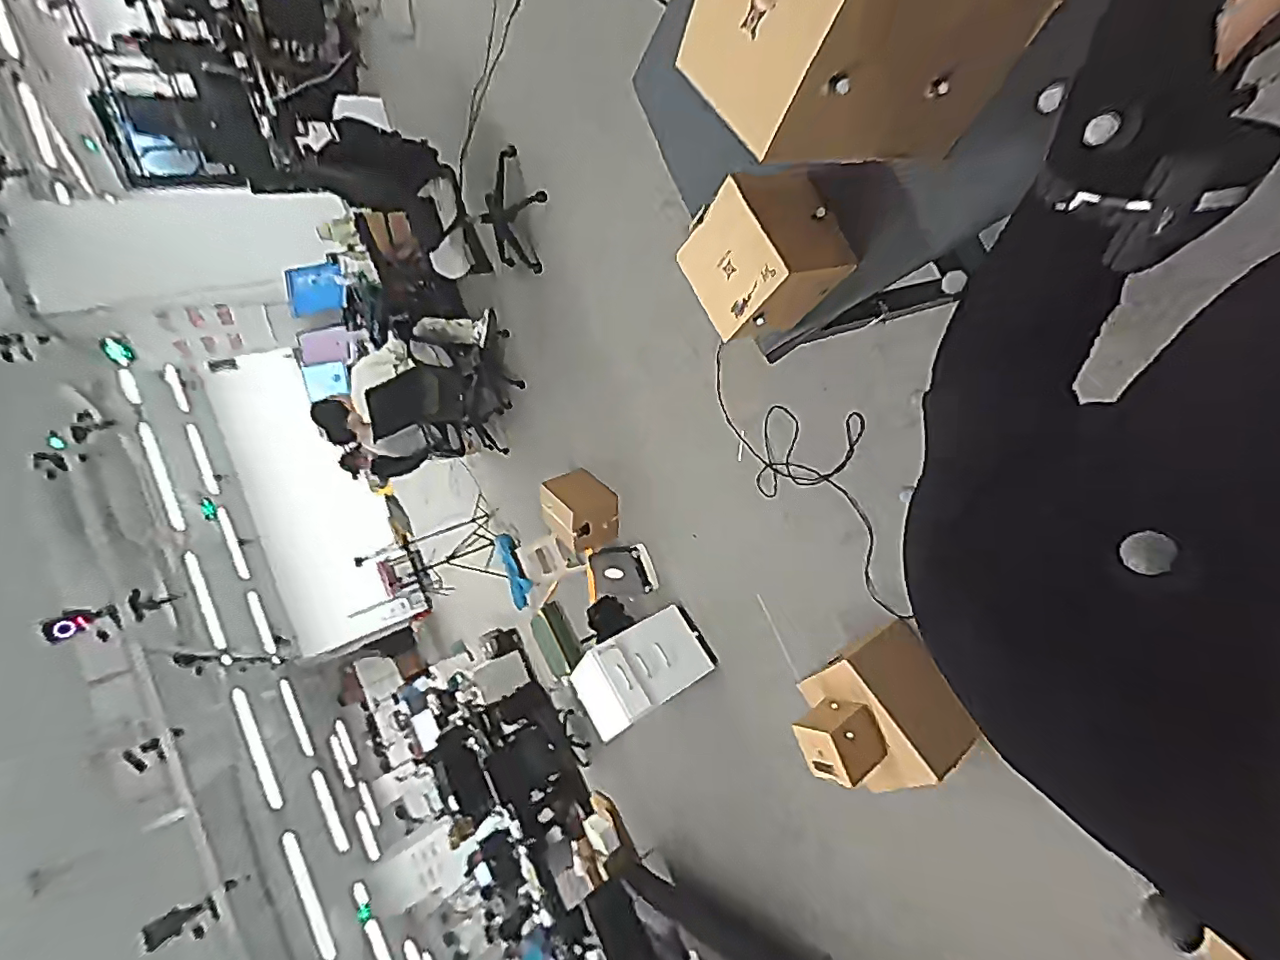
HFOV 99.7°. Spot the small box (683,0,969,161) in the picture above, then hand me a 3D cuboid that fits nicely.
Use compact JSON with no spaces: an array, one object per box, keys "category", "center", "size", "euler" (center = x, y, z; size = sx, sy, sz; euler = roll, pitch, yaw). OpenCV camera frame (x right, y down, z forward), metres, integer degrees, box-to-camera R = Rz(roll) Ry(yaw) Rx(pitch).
[{"category":"small box","center":[0.177,-0.445,0.528],"size":[0.168,0.176,0.179],"euler":[59,148,17]}]

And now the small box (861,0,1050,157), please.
[{"category":"small box","center":[0.308,-0.498,0.612],"size":[0.168,0.176,0.179],"euler":[57,147,19]}]

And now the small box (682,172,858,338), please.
[{"category":"small box","center":[0.202,-0.353,0.857],"size":[0.179,0.176,0.168],"euler":[64,150,10]}]
